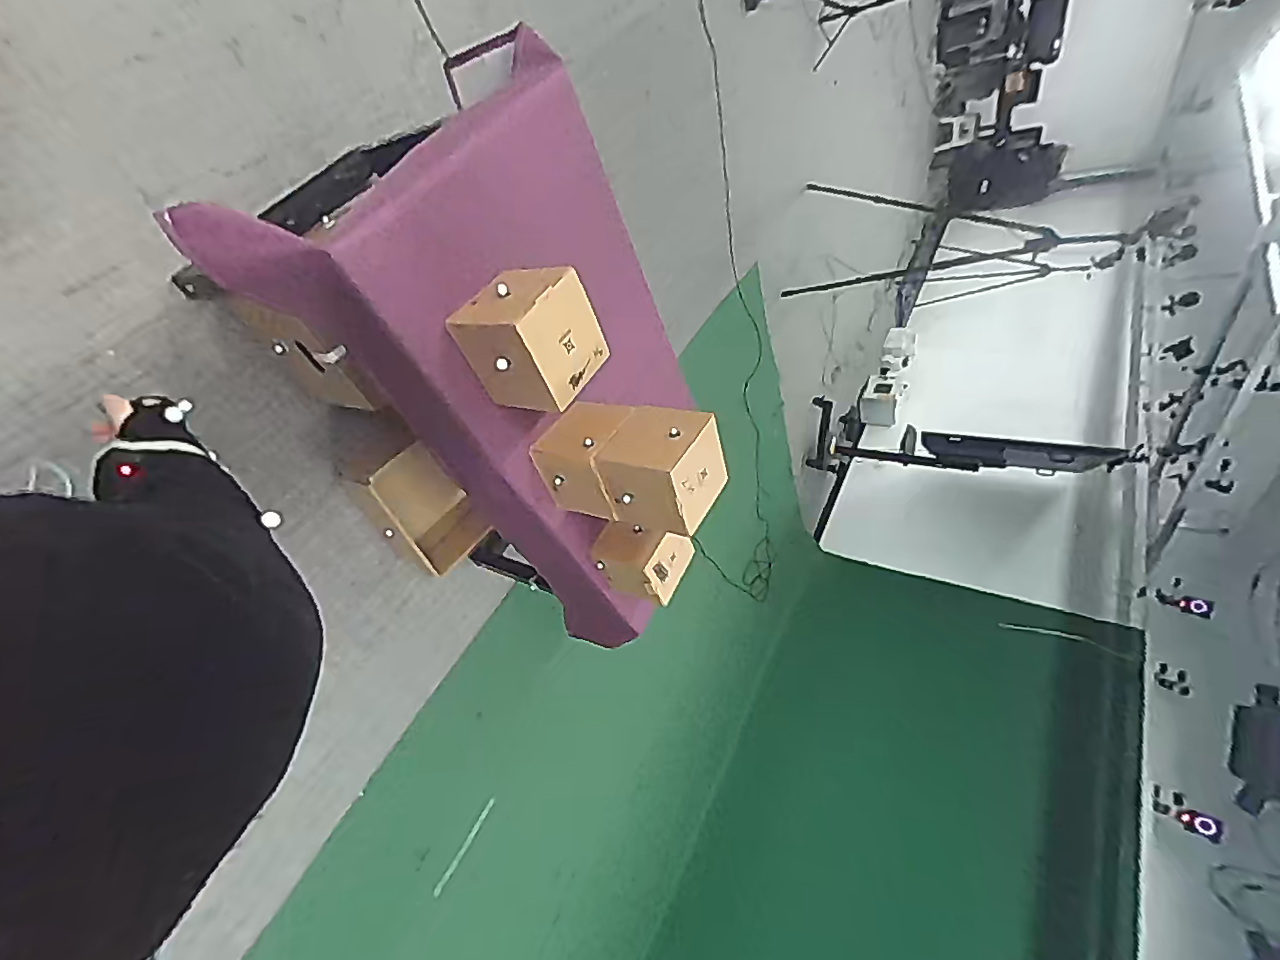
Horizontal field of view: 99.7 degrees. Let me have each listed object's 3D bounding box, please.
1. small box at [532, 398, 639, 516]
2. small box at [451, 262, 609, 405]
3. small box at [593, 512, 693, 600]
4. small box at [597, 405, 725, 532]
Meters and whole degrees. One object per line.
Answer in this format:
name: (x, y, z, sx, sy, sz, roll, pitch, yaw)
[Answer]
small box: (-0.094, -0.056, 1.138, 0.179, 0.176, 0.168, -52, 138, -32)
small box: (-0.187, -0.251, 0.932, 0.168, 0.176, 0.179, -55, 140, -29)
small box: (0.004, 0.165, 1.349, 0.179, 0.176, 0.168, -57, 141, -30)
small box: (0.044, -0.031, 1.051, 0.179, 0.176, 0.168, -51, 138, -34)
